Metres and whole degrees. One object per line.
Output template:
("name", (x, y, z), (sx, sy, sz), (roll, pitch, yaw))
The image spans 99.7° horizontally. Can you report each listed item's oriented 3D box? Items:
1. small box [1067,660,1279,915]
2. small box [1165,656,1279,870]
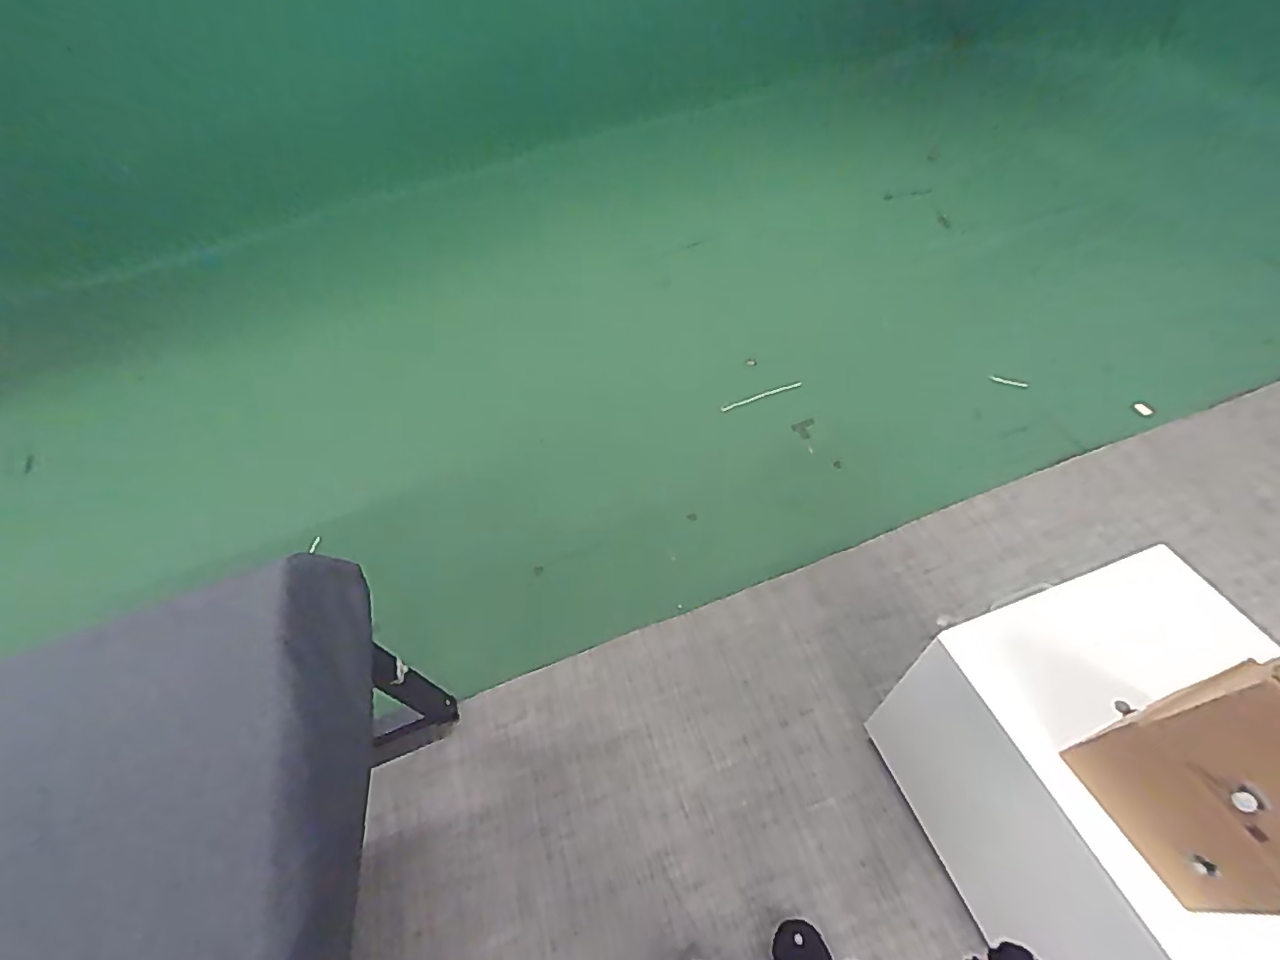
("small box", (0.626, 0.329, 0.577), (0.168, 0.176, 0.179), (-22, 51, -8))
("small box", (0.614, 0.230, 0.447), (0.179, 0.176, 0.168), (-23, 53, -10))
